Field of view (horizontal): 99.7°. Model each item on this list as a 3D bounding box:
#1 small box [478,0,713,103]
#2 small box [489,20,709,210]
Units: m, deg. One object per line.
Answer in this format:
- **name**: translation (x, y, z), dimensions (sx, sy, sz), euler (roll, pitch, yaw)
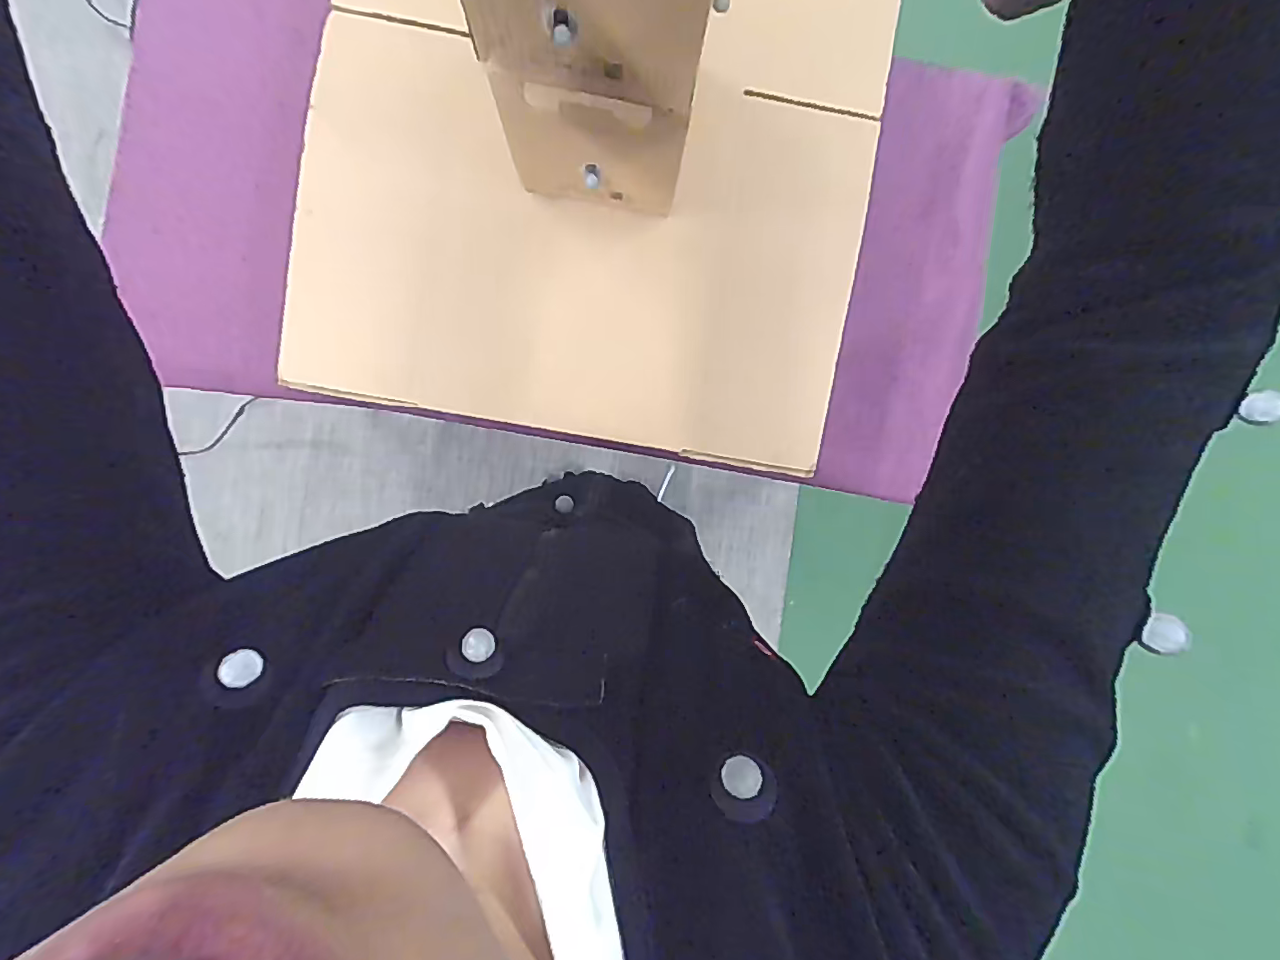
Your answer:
- **small box**: translation (-0.021, -0.395, 0.344), dimensions (0.168, 0.176, 0.179), euler (10, 89, -3)
- **small box**: translation (-0.028, -0.392, 0.506), dimensions (0.168, 0.176, 0.179), euler (10, 89, -2)
